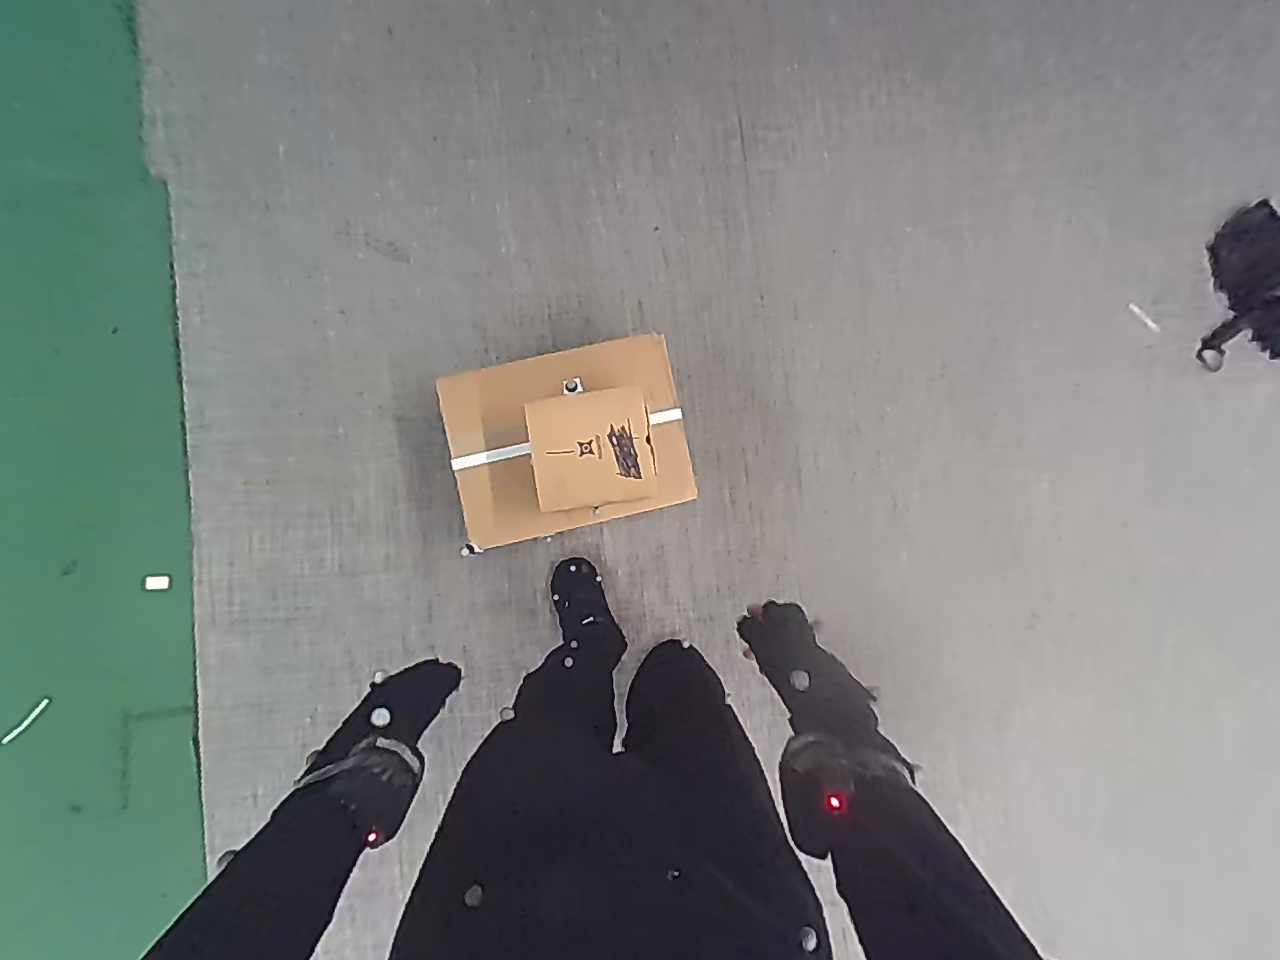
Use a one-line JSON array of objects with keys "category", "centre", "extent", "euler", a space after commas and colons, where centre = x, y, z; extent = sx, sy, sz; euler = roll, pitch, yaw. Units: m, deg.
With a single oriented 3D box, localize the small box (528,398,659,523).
[{"category": "small box", "centre": [-0.073, -0.027, 0.869], "extent": [0.179, 0.176, 0.168], "euler": [-9, 87, -3]}]
